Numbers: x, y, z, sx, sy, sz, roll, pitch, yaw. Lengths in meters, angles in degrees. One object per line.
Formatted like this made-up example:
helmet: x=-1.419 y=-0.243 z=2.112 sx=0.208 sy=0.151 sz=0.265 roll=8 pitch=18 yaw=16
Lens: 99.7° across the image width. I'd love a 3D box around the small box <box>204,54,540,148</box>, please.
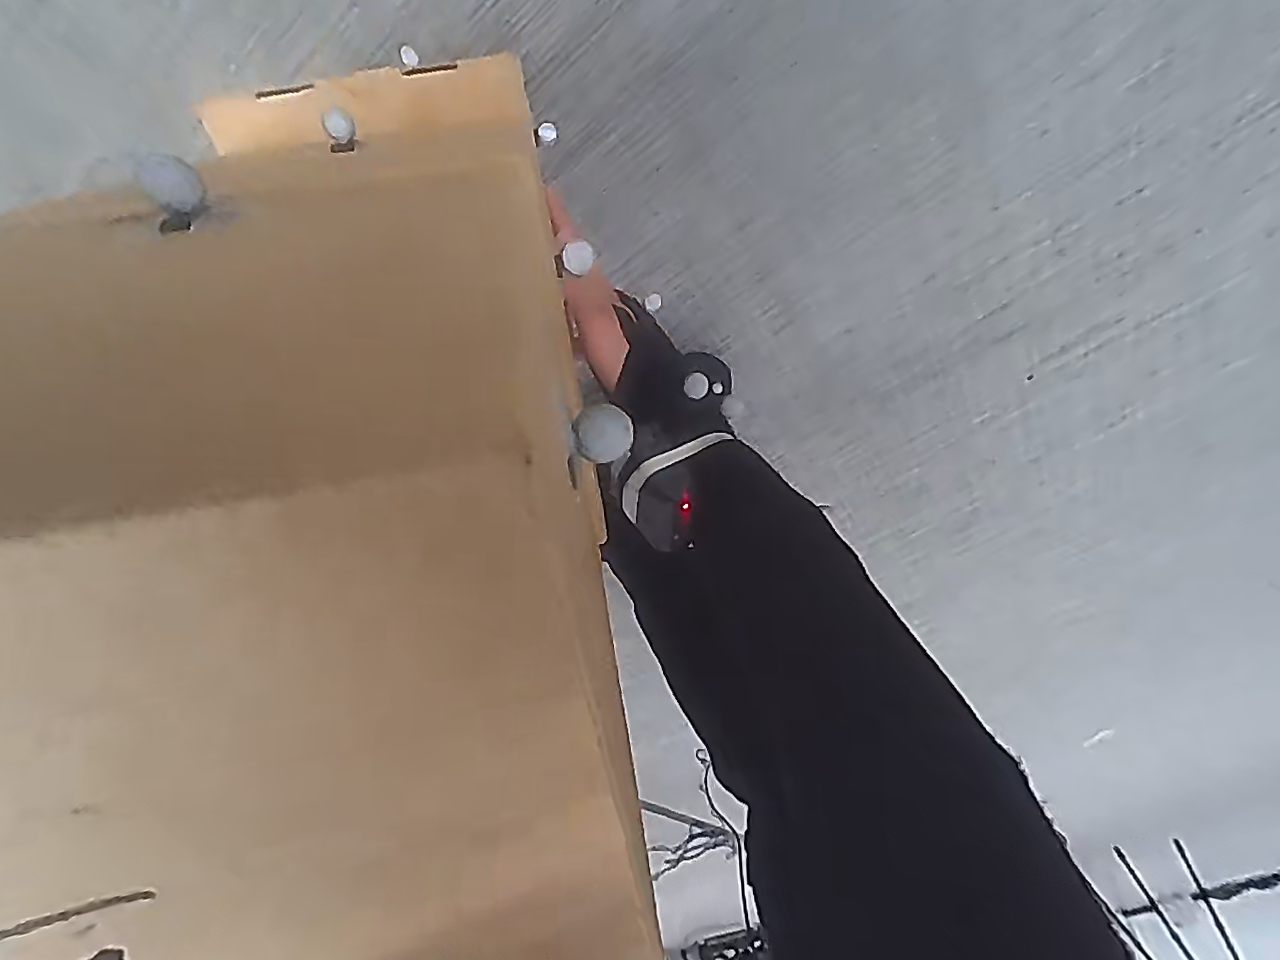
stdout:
small box: x=-0.145 y=-0.189 z=0.391 sx=0.168 sy=0.176 sz=0.179 roll=-12 pitch=128 yaw=-4
